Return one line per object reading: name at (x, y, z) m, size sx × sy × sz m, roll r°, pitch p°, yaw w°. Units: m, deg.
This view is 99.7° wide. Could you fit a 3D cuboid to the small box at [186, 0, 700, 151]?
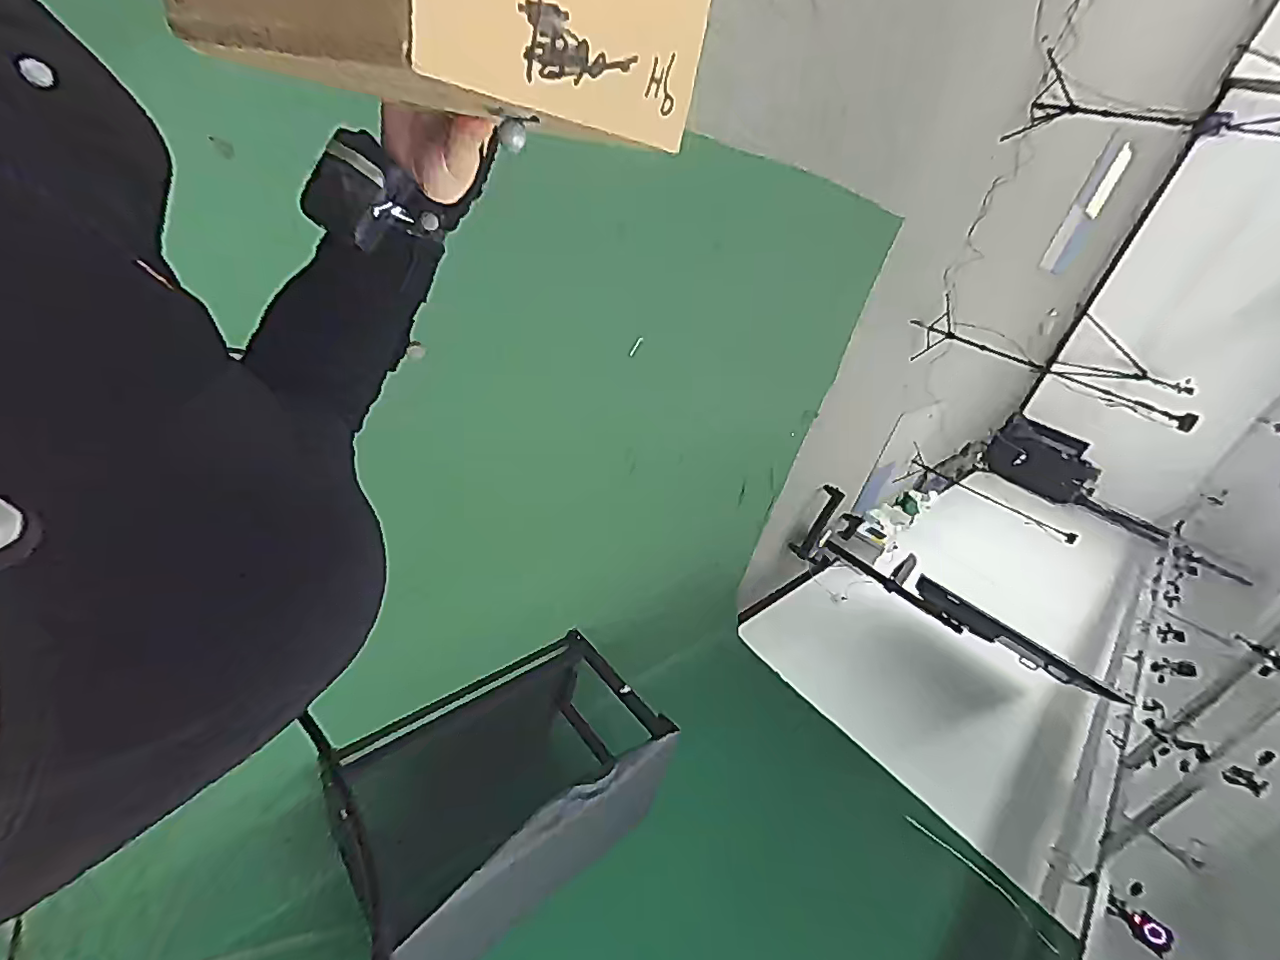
small box at (-0.080, -0.261, 0.230) m, size 0.168 × 0.176 × 0.179 m, roll -29°, pitch 138°, yaw -50°
